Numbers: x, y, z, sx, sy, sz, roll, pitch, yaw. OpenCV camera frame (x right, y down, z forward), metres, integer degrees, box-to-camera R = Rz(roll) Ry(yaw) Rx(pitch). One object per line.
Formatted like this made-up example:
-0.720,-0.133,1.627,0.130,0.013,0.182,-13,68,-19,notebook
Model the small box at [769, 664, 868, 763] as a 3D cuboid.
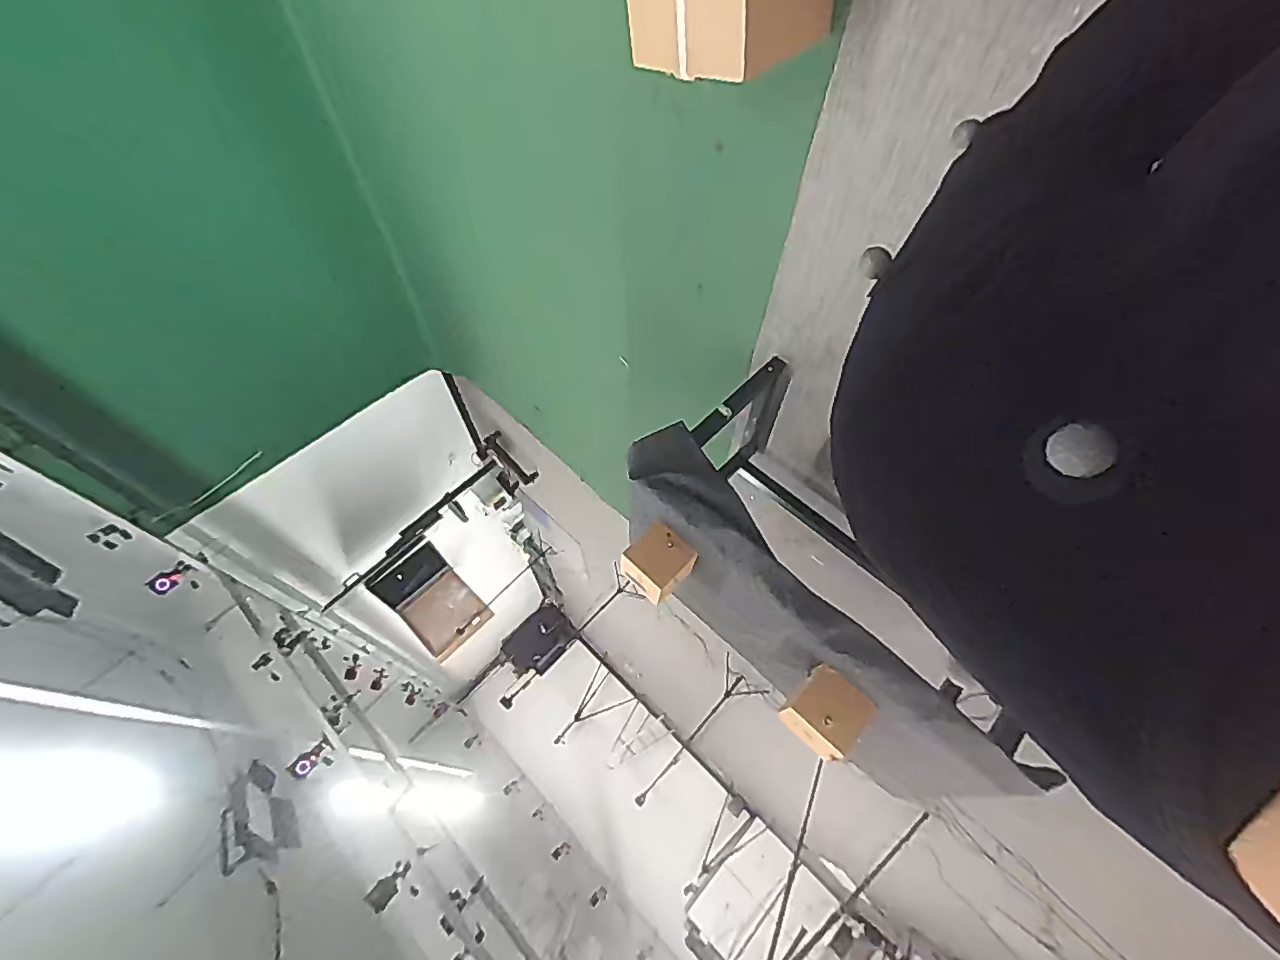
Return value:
0.488,0.638,1.480,0.179,0.176,0.168,41,155,20,small box
